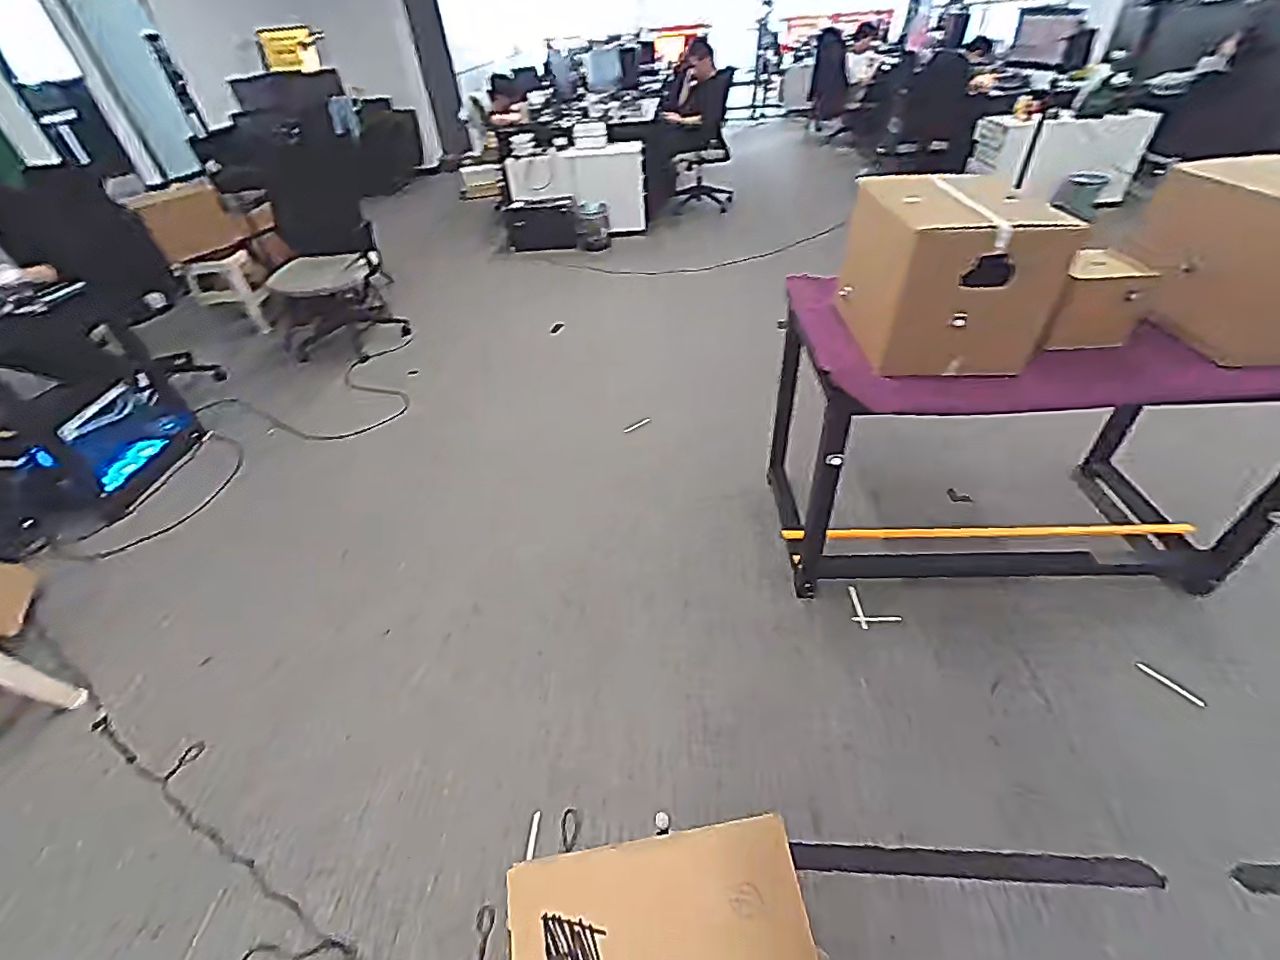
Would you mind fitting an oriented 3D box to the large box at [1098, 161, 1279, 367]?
[{"bbox_3d":[1.357,-0.485,1.196,0.320,0.320,0.408,-2,39,3],"label":"large box"}]

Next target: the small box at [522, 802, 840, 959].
[{"bbox_3d":[0.033,0.323,0.353,0.179,0.176,0.168,-11,56,0],"label":"small box"}]
